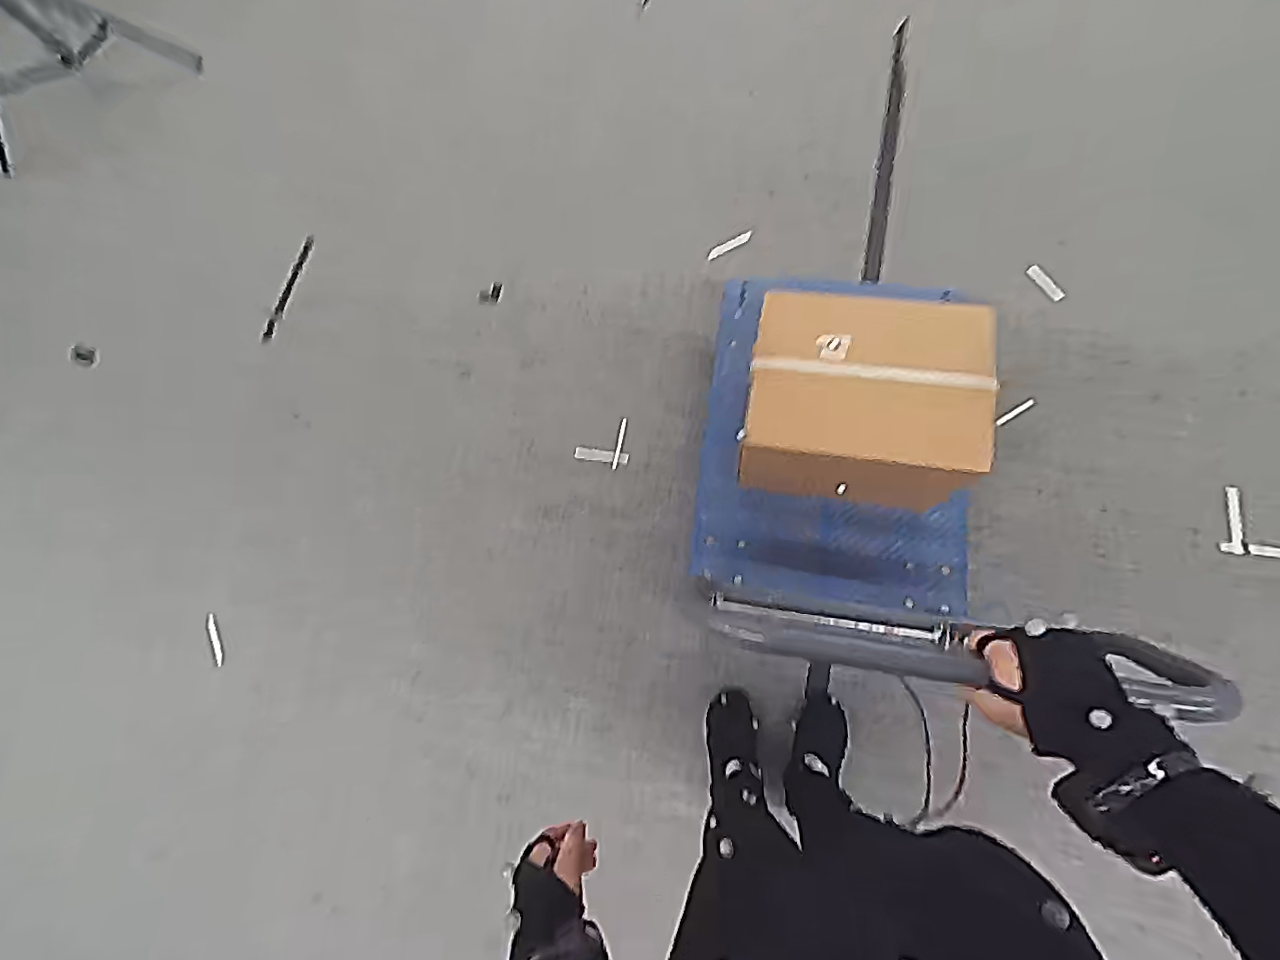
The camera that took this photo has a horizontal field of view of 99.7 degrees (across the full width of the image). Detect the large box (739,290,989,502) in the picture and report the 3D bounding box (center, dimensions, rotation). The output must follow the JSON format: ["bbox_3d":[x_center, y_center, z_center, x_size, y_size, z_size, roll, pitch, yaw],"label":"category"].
[{"bbox_3d":[0.421,-0.154,1.093,0.408,0.320,0.320,8,75,12],"label":"large box"}]
